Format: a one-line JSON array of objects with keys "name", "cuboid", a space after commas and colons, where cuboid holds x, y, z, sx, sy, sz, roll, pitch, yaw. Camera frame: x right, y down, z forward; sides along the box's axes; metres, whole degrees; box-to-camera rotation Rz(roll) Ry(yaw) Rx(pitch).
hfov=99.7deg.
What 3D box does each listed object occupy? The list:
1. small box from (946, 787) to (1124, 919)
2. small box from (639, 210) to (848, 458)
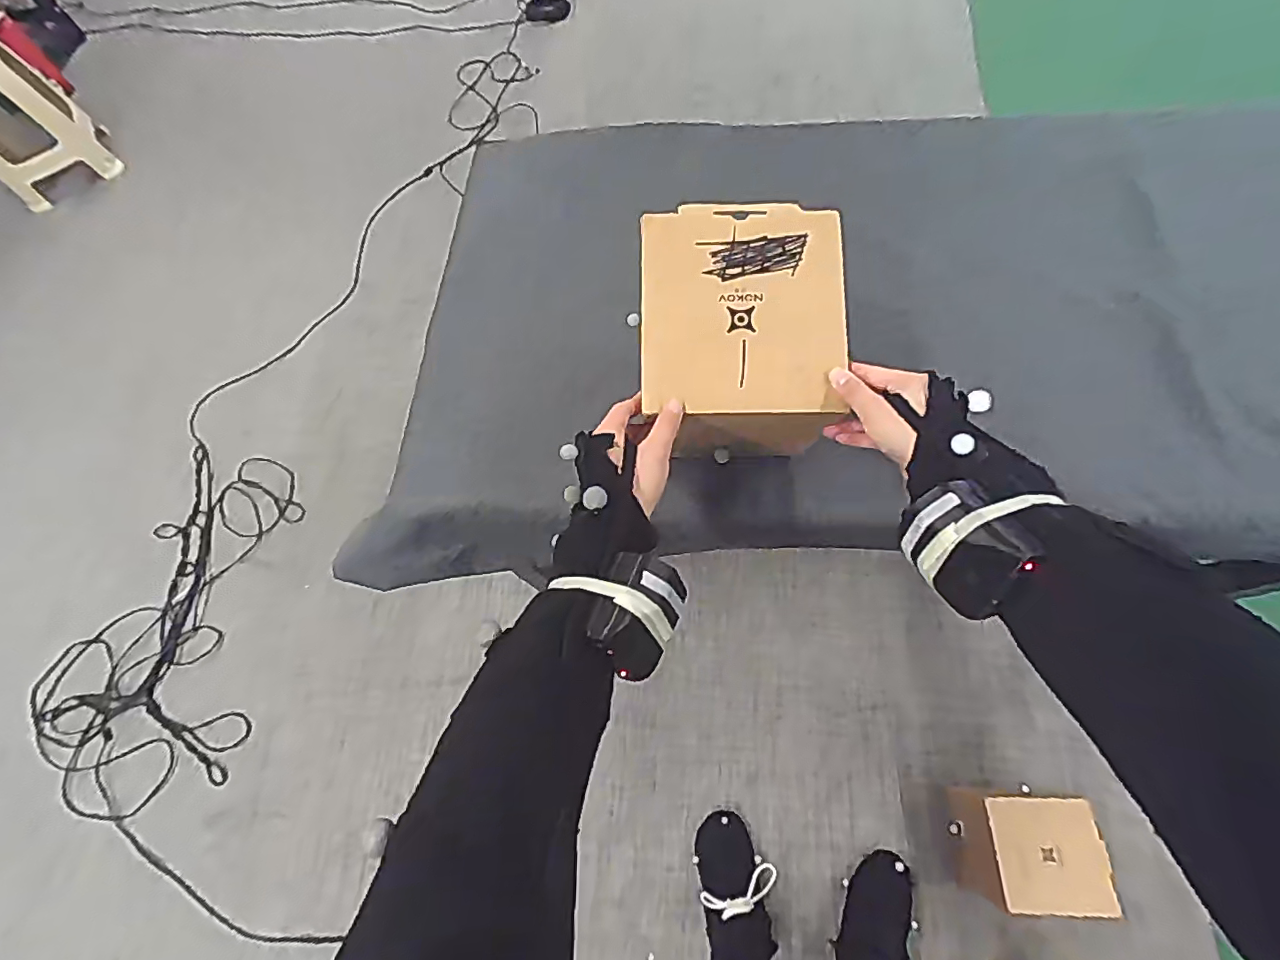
[{"name": "small box", "cuboid": [0.681, 0.647, 0.957, 0.179, 0.176, 0.168, -3, 66, 5]}, {"name": "small box", "cuboid": [0.084, -0.124, 0.512, 0.168, 0.176, 0.179, 0, 81, 3]}]
